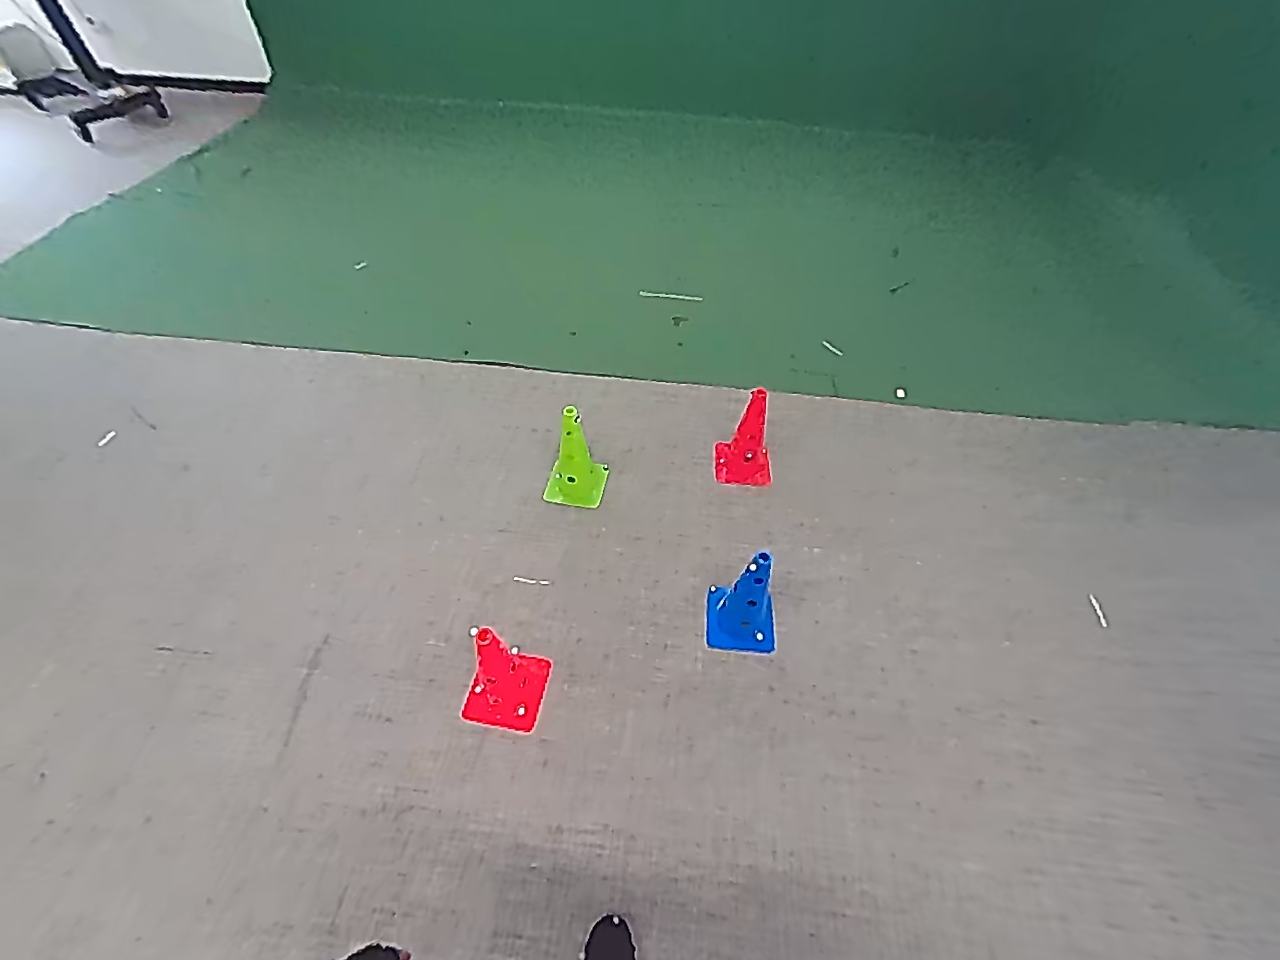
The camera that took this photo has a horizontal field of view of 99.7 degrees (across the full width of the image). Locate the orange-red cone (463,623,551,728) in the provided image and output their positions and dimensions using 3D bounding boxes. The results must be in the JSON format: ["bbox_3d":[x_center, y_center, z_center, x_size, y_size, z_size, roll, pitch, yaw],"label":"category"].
[{"bbox_3d":[-0.349,0.445,1.334,0.198,0.360,0.199,10,50,5],"label":"orange-red cone"}]

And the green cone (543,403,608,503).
[{"bbox_3d":[-0.224,-0.115,1.788,0.200,0.368,0.202,8,52,5],"label":"green cone"}]
